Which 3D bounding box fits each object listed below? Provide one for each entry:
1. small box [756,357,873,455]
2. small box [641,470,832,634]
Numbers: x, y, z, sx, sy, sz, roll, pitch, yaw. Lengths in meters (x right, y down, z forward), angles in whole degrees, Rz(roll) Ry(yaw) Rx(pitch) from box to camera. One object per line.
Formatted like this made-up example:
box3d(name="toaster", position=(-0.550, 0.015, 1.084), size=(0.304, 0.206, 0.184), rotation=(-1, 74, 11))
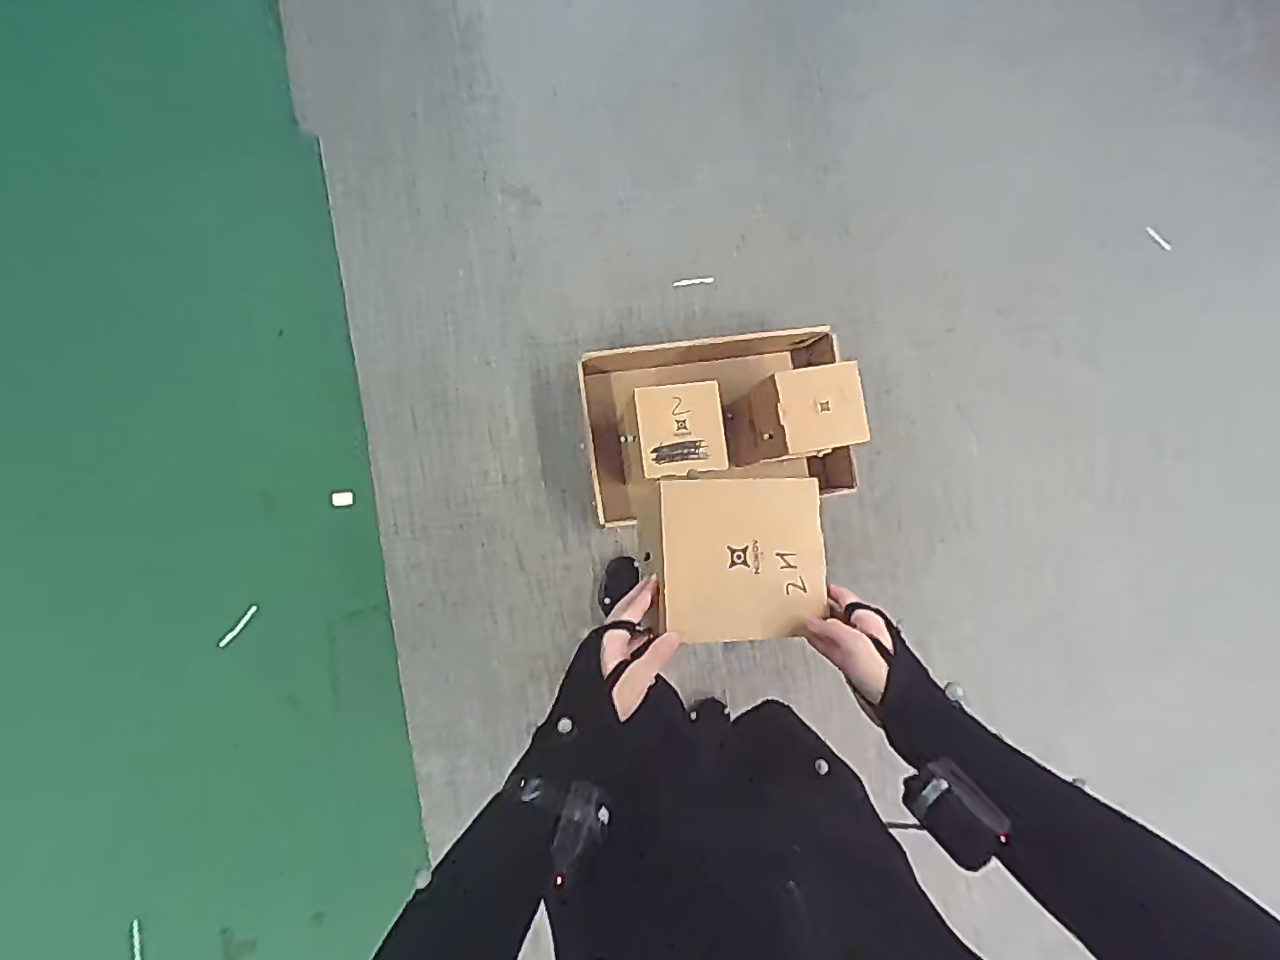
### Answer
box3d(name="small box", position=(0.353, -0.148, 1.134), size=(0.179, 0.176, 0.168), rotation=(-10, 90, -7))
box3d(name="small box", position=(0.097, 0.082, 0.629), size=(0.179, 0.176, 0.168), rotation=(-1, 82, -9))
